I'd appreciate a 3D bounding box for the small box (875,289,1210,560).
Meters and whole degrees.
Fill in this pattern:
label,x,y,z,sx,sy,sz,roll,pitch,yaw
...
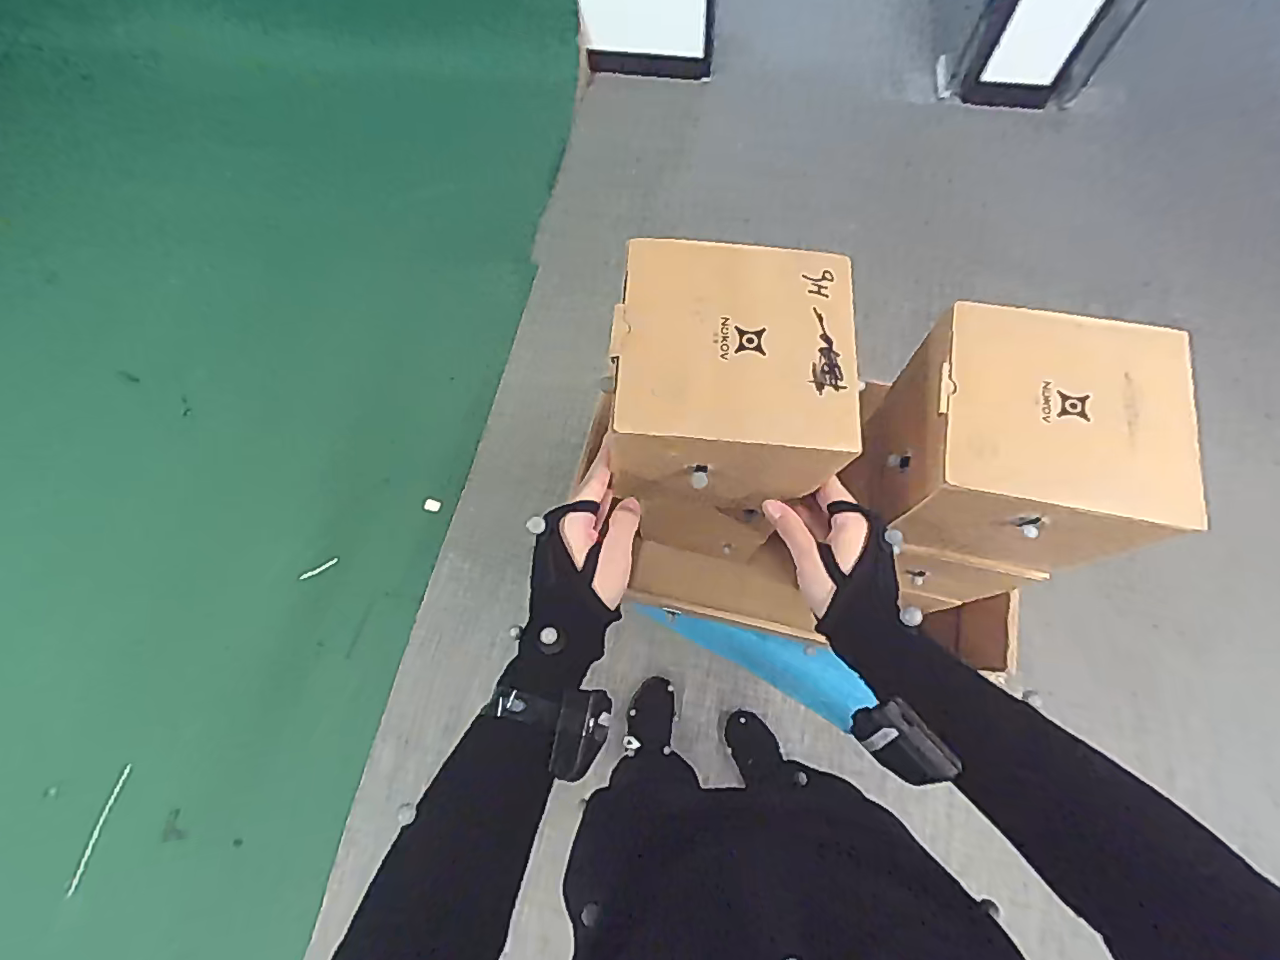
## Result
label,x,y,z,sx,sy,sz,roll,pitch,yaw
small box,0.324,-0.037,0.474,0.179,0.176,0.168,12,73,9

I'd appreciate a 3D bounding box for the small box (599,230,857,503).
label,x,y,z,sx,sy,sz,roll,pitch,yaw
small box,0.064,-0.083,0.462,0.179,0.176,0.168,4,72,0

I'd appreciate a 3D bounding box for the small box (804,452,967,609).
label,x,y,z,sx,sy,sz,roll,pitch,yaw
small box,0.347,0.081,0.779,0.179,0.176,0.168,13,72,9

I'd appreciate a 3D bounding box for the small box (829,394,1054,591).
label,x,y,z,sx,sy,sz,roll,pitch,yaw
small box,0.335,0.024,0.625,0.179,0.176,0.168,11,71,10
